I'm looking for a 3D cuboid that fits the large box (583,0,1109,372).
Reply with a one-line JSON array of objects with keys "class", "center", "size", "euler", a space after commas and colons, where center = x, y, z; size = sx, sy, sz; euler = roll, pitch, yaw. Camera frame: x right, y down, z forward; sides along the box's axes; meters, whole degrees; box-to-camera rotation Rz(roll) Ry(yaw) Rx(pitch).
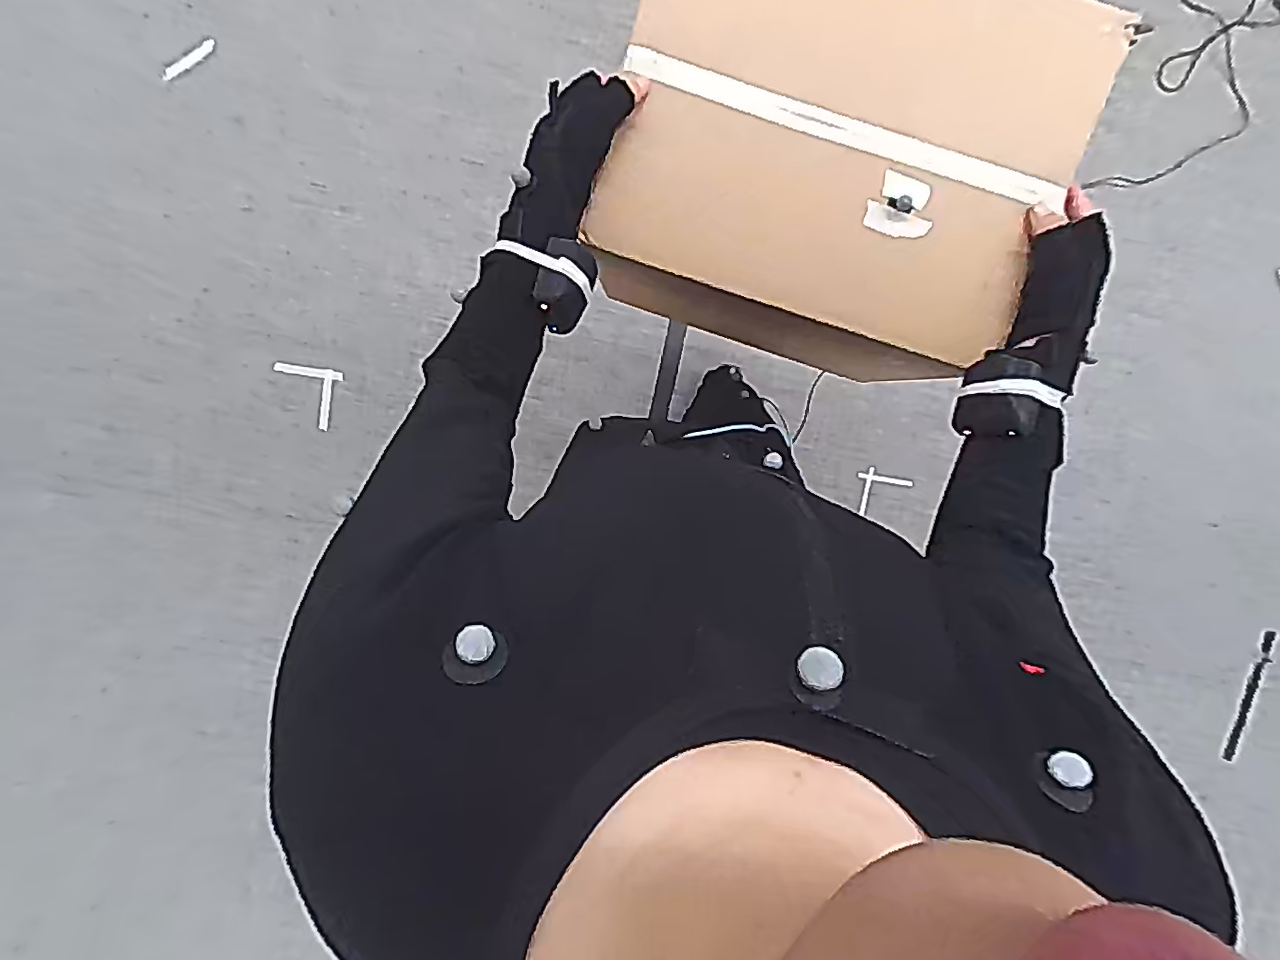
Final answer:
[{"class": "large box", "center": [0.176, -0.333, 0.631], "size": [0.408, 0.320, 0.320], "euler": [17, 100, -3]}]
